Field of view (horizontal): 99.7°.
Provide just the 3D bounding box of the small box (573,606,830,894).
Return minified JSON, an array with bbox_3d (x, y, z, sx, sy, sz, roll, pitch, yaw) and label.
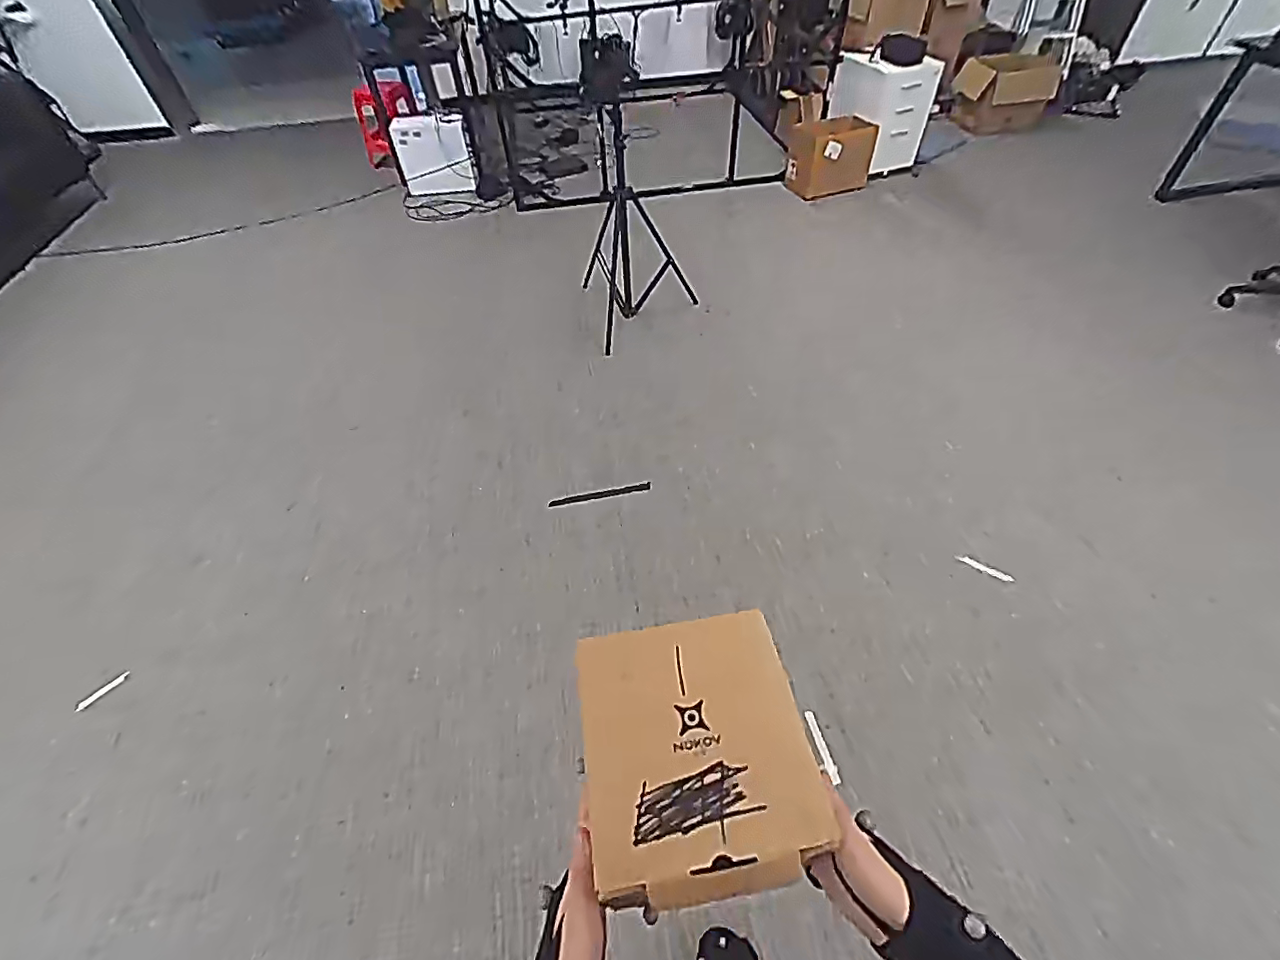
[{"bbox_3d":[0.039,0.236,0.467,0.168,0.176,0.179,-8,49,-5],"label":"small box"}]
